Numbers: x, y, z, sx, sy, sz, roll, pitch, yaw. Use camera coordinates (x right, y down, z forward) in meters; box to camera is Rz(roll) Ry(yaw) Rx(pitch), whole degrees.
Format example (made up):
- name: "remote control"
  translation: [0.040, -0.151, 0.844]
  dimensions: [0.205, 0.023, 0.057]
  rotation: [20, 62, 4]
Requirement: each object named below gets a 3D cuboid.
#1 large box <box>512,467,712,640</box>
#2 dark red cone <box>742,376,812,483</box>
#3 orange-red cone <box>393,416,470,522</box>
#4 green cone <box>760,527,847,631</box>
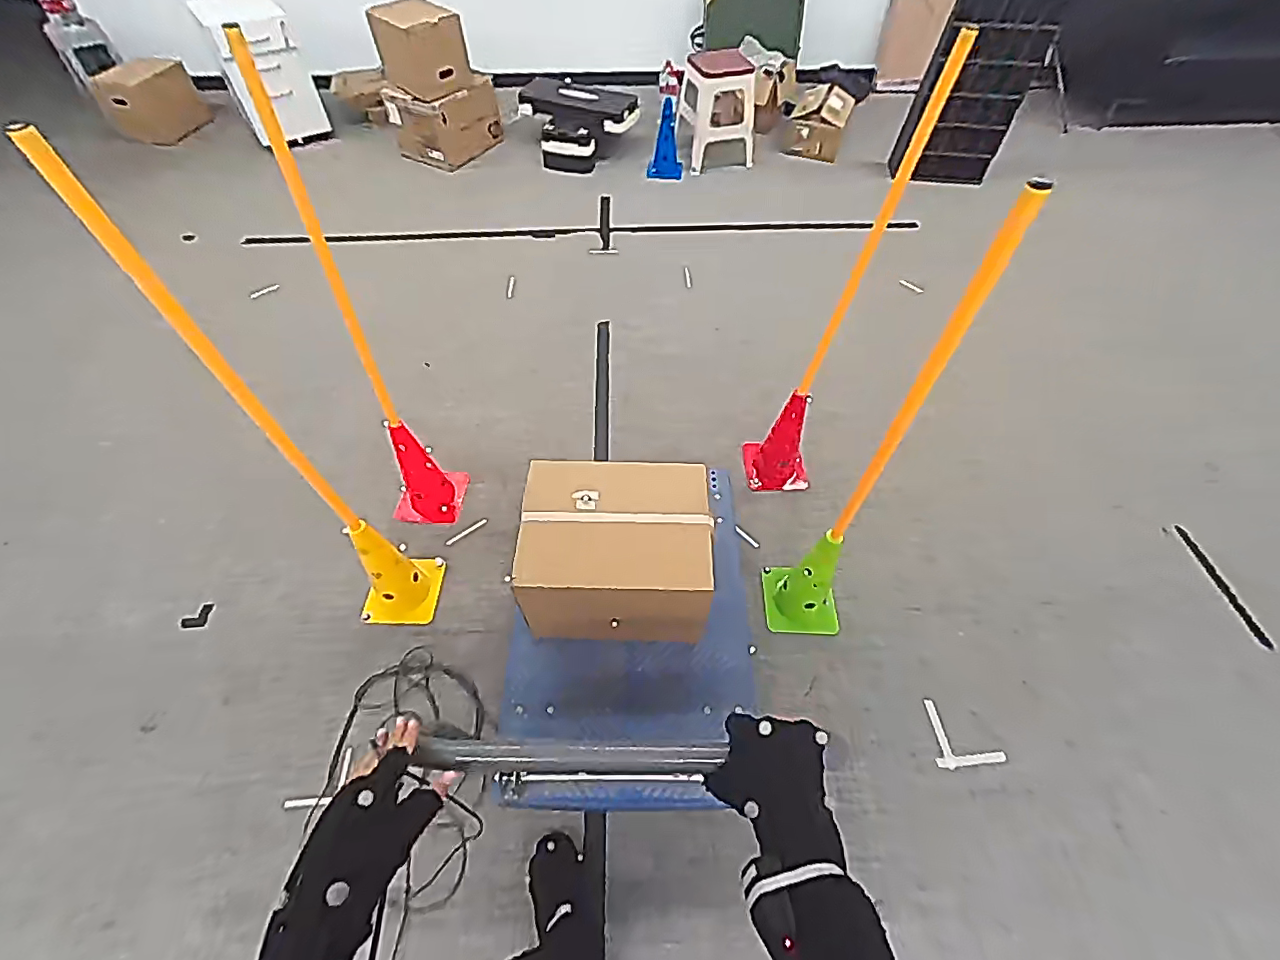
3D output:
- name: "large box"
  translation: [-0.052, 0.180, 1.276]
  dimensions: [0.408, 0.320, 0.320]
  rotation: [1, 55, 1]
- name: "dark red cone"
  translation: [0.461, -0.166, 1.690]
  dimensions: [0.201, 0.394, 0.202]
  rotation: [0, 54, -3]
- name: "orange-red cone"
  translation: [-0.666, -0.058, 1.620]
  dimensions: [0.198, 0.360, 0.199]
  rotation: [5, 53, 2]
- name: "green cone"
  translation: [0.458, 0.236, 1.419]
  dimensions: [0.202, 0.368, 0.200]
  rotation: [3, 54, 0]
